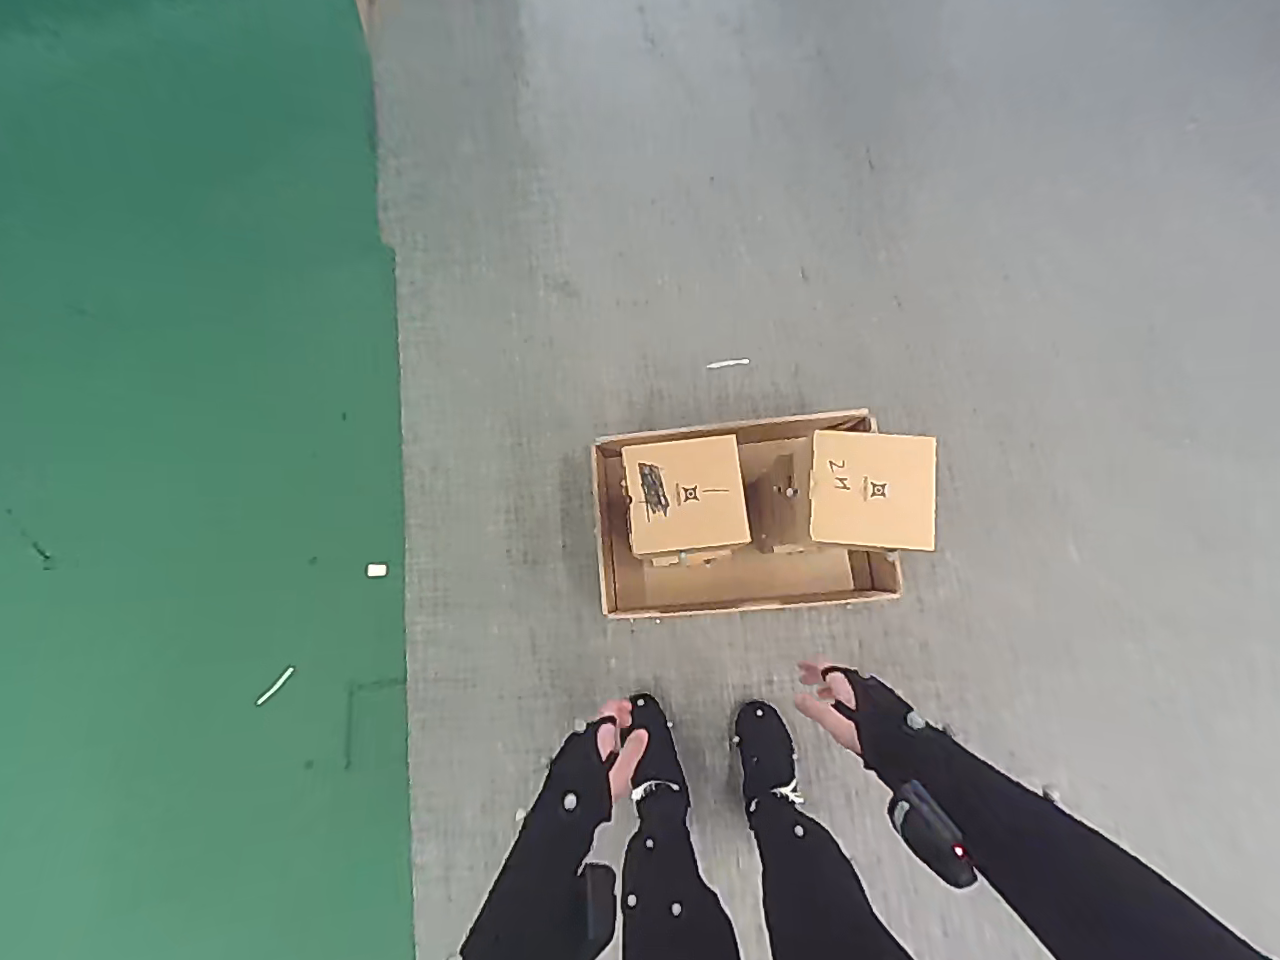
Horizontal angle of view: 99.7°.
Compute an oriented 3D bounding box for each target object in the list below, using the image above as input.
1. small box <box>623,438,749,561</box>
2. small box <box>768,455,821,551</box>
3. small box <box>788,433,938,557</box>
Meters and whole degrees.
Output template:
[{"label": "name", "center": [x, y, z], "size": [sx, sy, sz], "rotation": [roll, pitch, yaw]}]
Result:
[{"label": "small box", "center": [0.072, 0.040, 0.880], "size": [0.179, 0.176, 0.168], "rotation": [-6, 79, 2]}, {"label": "small box", "center": [0.346, 0.047, 1.018], "size": [0.179, 0.176, 0.168], "rotation": [-3, 80, 6]}, {"label": "small box", "center": [0.341, 0.031, 0.851], "size": [0.179, 0.176, 0.168], "rotation": [5, 81, 6]}]
